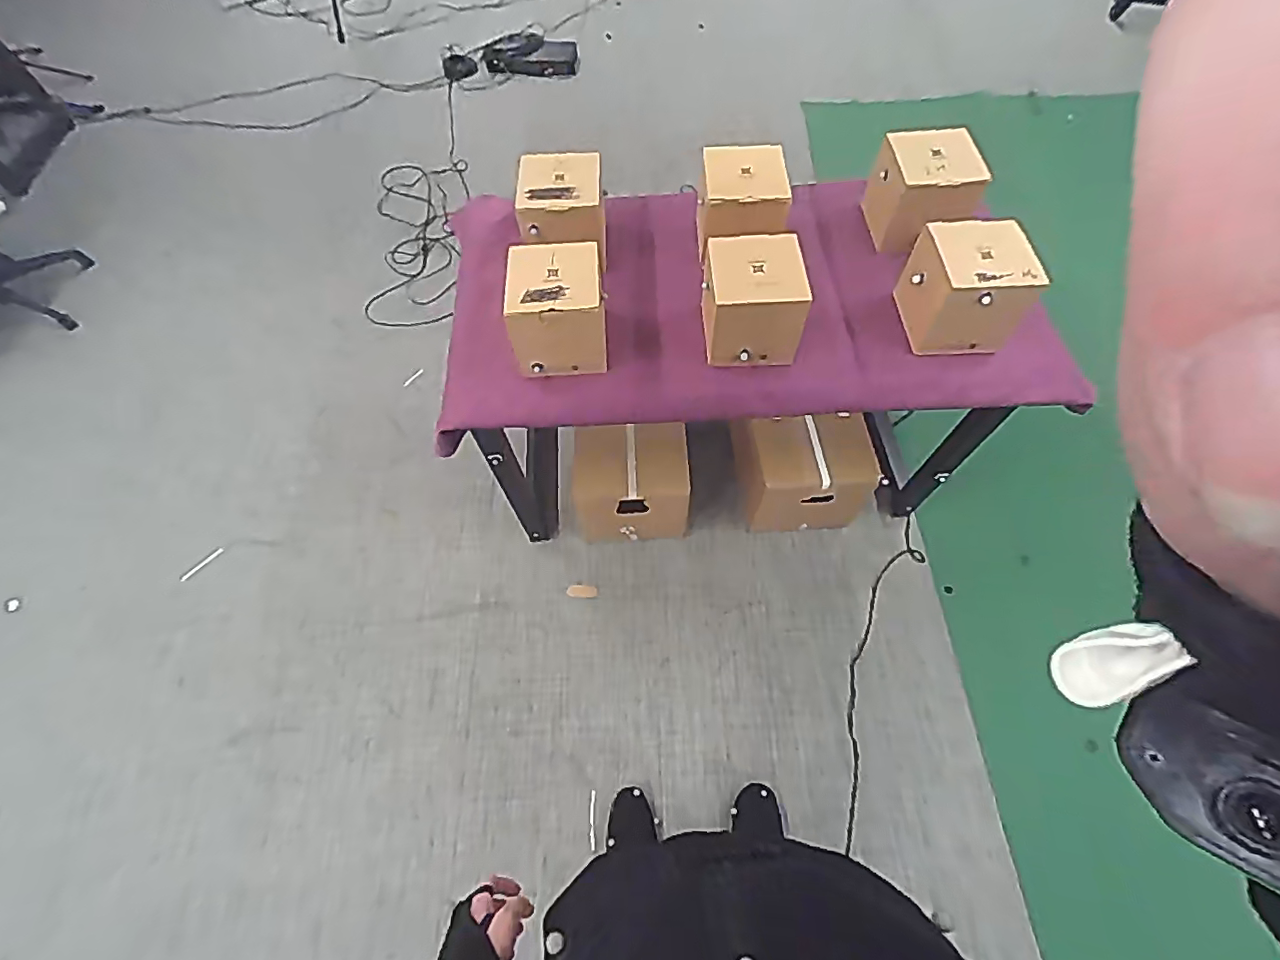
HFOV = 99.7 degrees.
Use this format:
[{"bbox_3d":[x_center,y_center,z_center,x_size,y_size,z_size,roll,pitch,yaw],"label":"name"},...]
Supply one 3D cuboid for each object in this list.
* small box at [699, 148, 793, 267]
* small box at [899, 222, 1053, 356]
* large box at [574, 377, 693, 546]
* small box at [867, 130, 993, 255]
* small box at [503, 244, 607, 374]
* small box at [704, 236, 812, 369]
[{"bbox_3d":[0.216,-0.572,1.150,0.168,0.176,0.179,-1,63,1],"label":"small box"},{"bbox_3d":[0.611,-0.354,1.014,0.168,0.176,0.179,-2,59,3],"label":"small box"},{"bbox_3d":[-0.021,-0.049,1.628,0.320,0.320,0.408,-3,61,0],"label":"large box"},{"bbox_3d":[0.601,-0.607,1.149,0.168,0.176,0.179,-2,63,3],"label":"small box"},{"bbox_3d":[-0.151,-0.314,1.021,0.168,0.176,0.179,-3,60,0],"label":"small box"},{"bbox_3d":[0.211,-0.330,1.018,0.168,0.176,0.179,-2,61,2],"label":"small box"}]
